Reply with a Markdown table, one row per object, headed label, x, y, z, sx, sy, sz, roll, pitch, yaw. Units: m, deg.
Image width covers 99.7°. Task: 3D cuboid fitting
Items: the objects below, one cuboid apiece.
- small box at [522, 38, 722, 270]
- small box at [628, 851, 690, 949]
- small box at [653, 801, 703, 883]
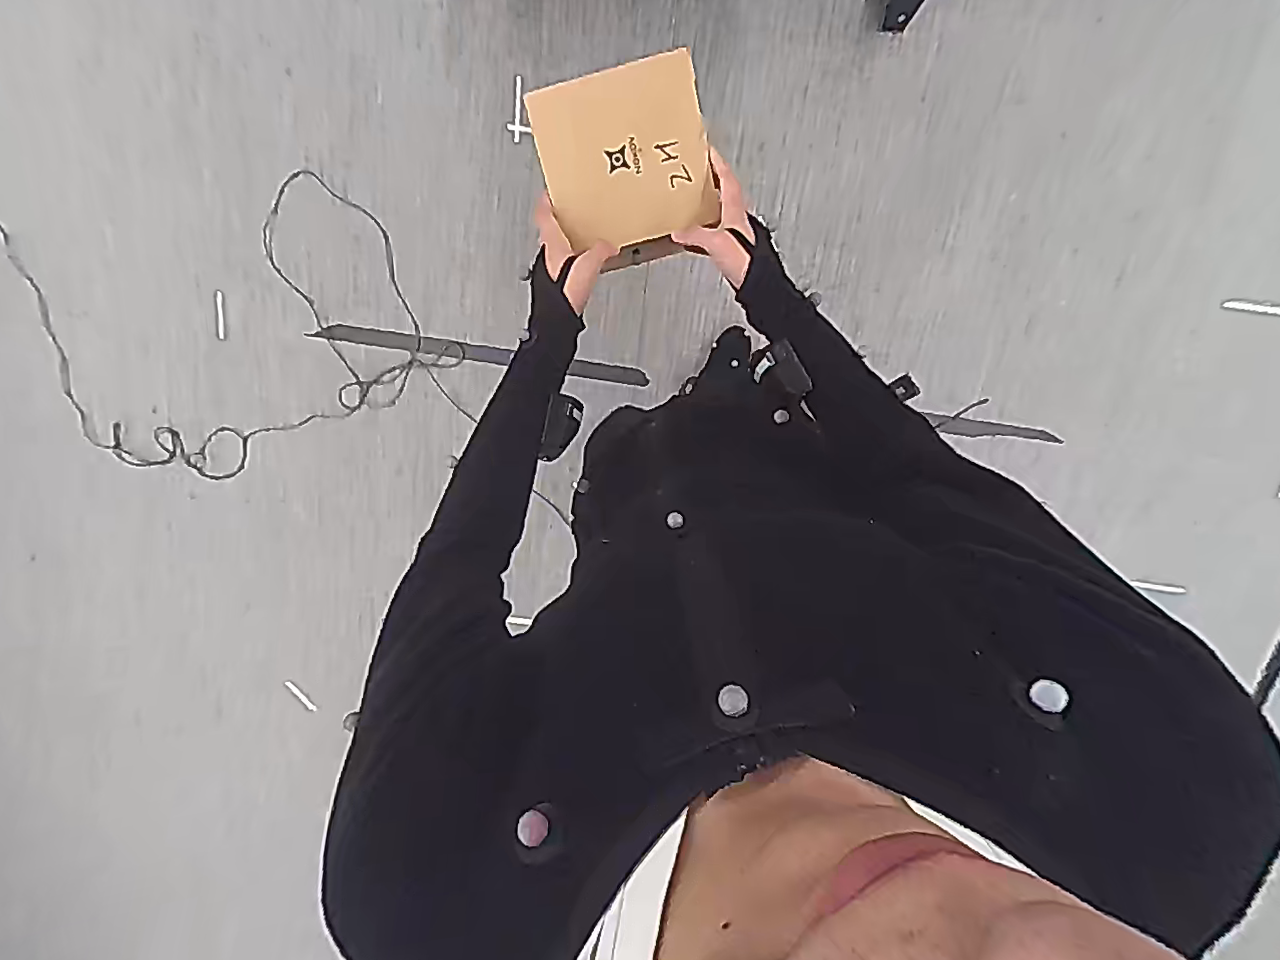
| label | x | y | z | sx | sy | sz | roll | pitch | yaw |
| --- | --- | --- | --- | --- | --- | --- | --- | --- | --- |
| small box | -0.015 | -0.353 | 0.625 | 0.179 | 0.176 | 0.168 | -14 | 105 | 3 |
| small box | 0.063 | 1.355 | 1.751 | 0.168 | 0.176 | 0.179 | 11 | 105 | 0 |
| small box | 0.134 | 1.264 | 1.891 | 0.168 | 0.176 | 0.179 | -3 | 105 | 4 |
